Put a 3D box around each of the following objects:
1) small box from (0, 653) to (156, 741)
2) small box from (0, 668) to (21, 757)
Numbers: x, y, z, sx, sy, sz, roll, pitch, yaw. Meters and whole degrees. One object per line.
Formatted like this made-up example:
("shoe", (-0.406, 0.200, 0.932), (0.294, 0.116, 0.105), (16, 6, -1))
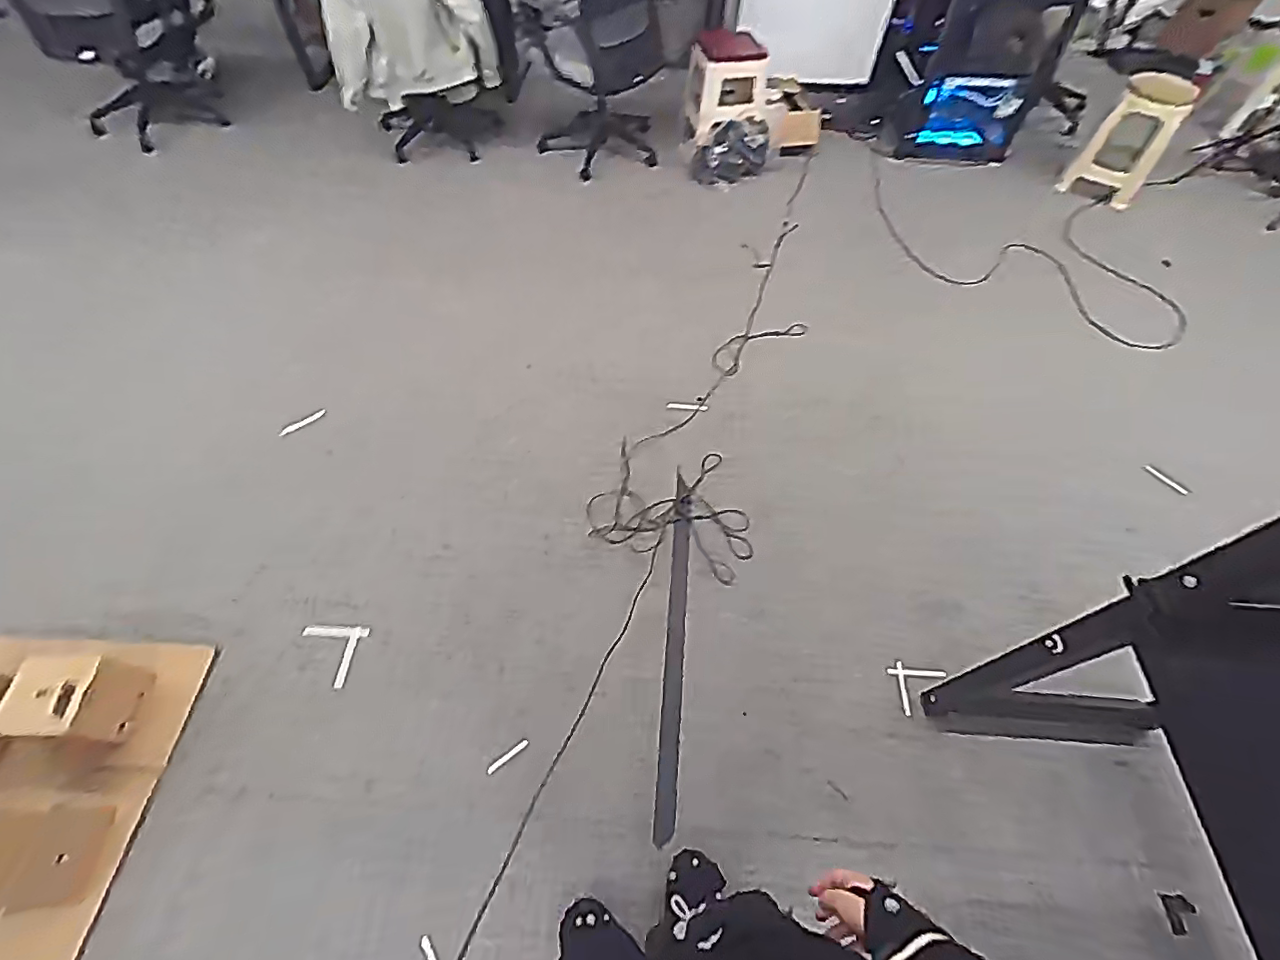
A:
("small box", (-1.305, 0.510, 1.266), (0.179, 0.176, 0.168), (0, 57, -2))
("small box", (-1.565, 0.535, 1.245), (0.168, 0.176, 0.179), (-2, 58, -1))
